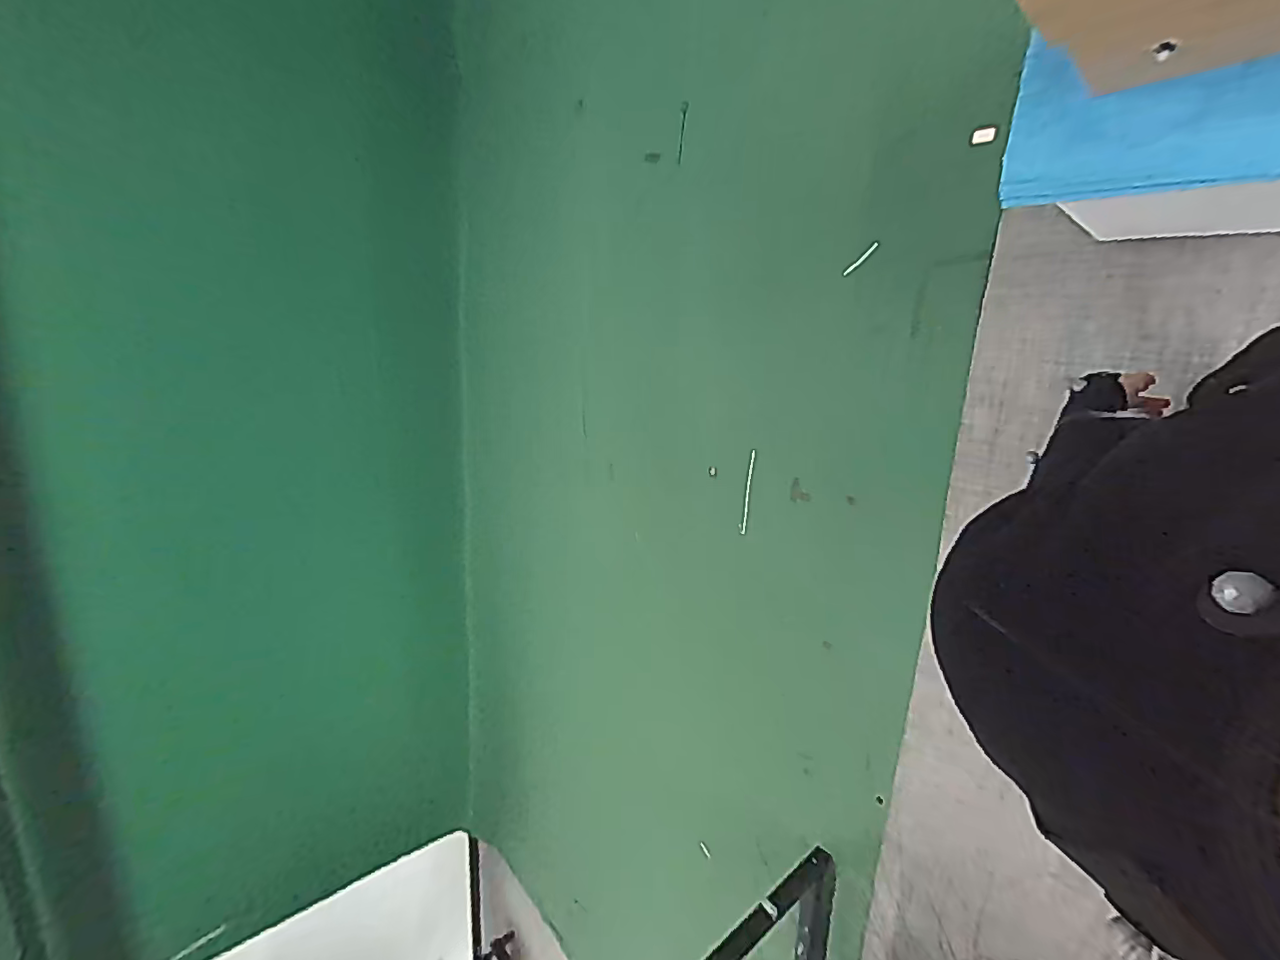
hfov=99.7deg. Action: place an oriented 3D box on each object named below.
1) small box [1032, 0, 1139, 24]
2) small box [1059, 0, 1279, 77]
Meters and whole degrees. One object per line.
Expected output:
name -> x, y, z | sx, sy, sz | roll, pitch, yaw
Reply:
small box -> 0.444, -0.539, 0.454 | 0.179, 0.176, 0.168 | 19, 110, 47
small box -> 0.575, -0.556, 0.553 | 0.179, 0.176, 0.168 | 19, 110, 47
